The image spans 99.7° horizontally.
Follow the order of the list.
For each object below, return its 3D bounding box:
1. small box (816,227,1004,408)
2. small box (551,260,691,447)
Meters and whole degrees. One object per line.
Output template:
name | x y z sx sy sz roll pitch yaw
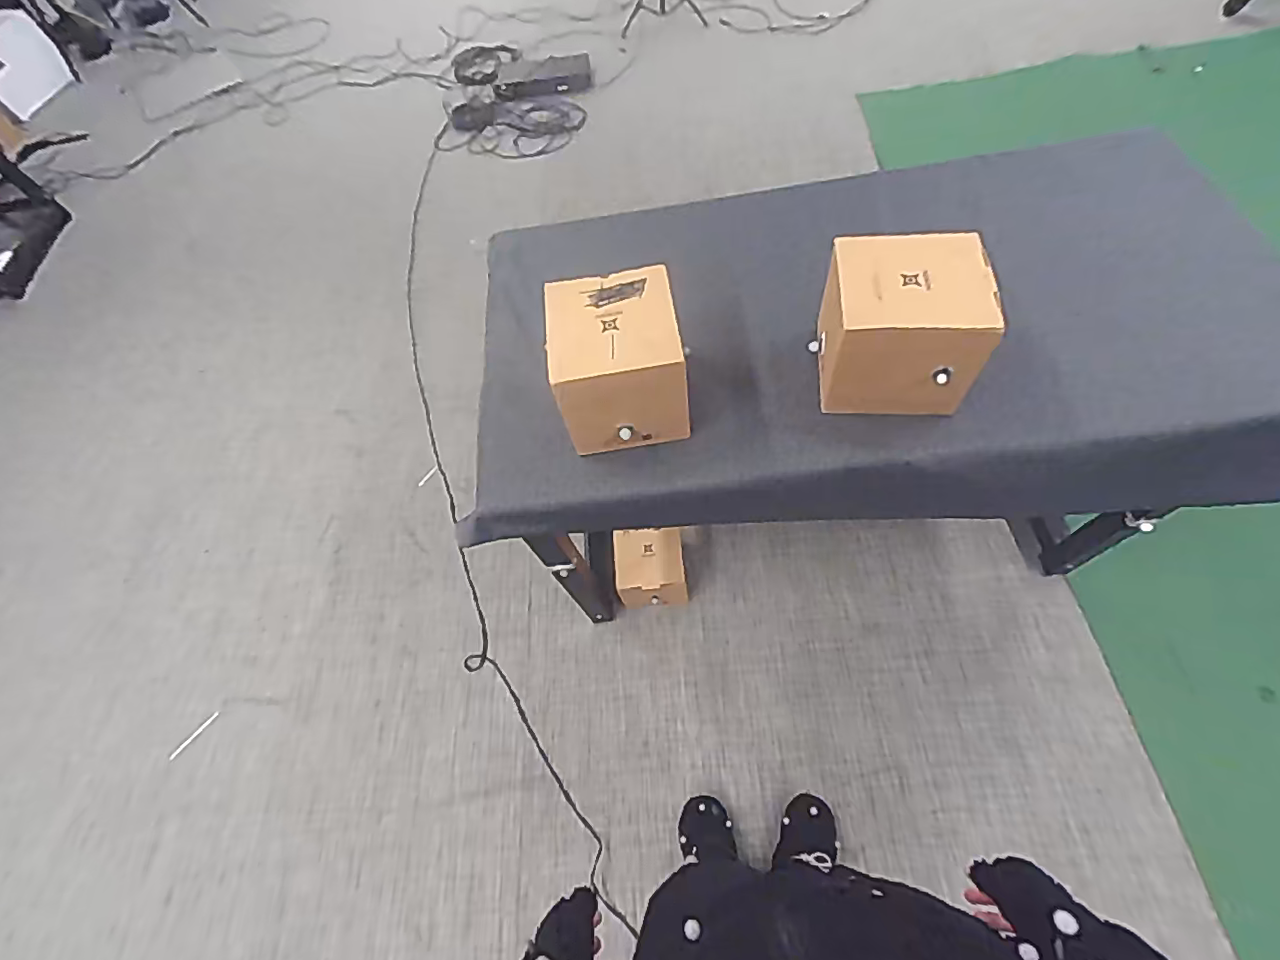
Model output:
small box | 0.344 -0.210 0.728 0.179 0.176 0.168 1 61 9
small box | -0.023 -0.170 0.752 0.168 0.176 0.179 -9 61 3
